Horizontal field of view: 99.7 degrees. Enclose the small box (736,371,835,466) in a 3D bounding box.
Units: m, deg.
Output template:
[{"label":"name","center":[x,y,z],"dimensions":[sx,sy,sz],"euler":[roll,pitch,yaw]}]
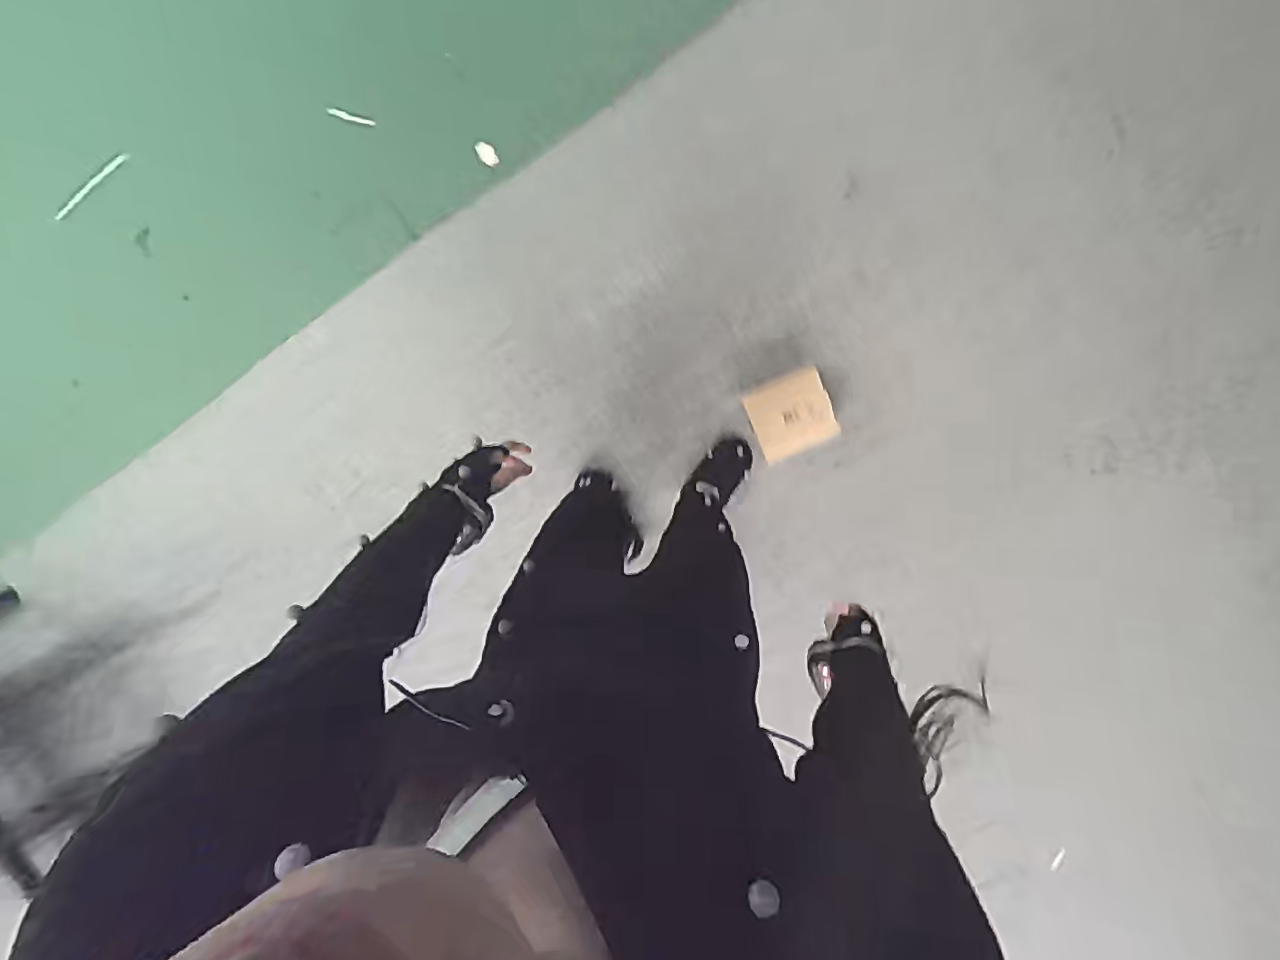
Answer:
[{"label":"small box","center":[0.338,-0.148,1.285],"dimensions":[0.179,0.176,0.168],"euler":[-22,97,12]}]
